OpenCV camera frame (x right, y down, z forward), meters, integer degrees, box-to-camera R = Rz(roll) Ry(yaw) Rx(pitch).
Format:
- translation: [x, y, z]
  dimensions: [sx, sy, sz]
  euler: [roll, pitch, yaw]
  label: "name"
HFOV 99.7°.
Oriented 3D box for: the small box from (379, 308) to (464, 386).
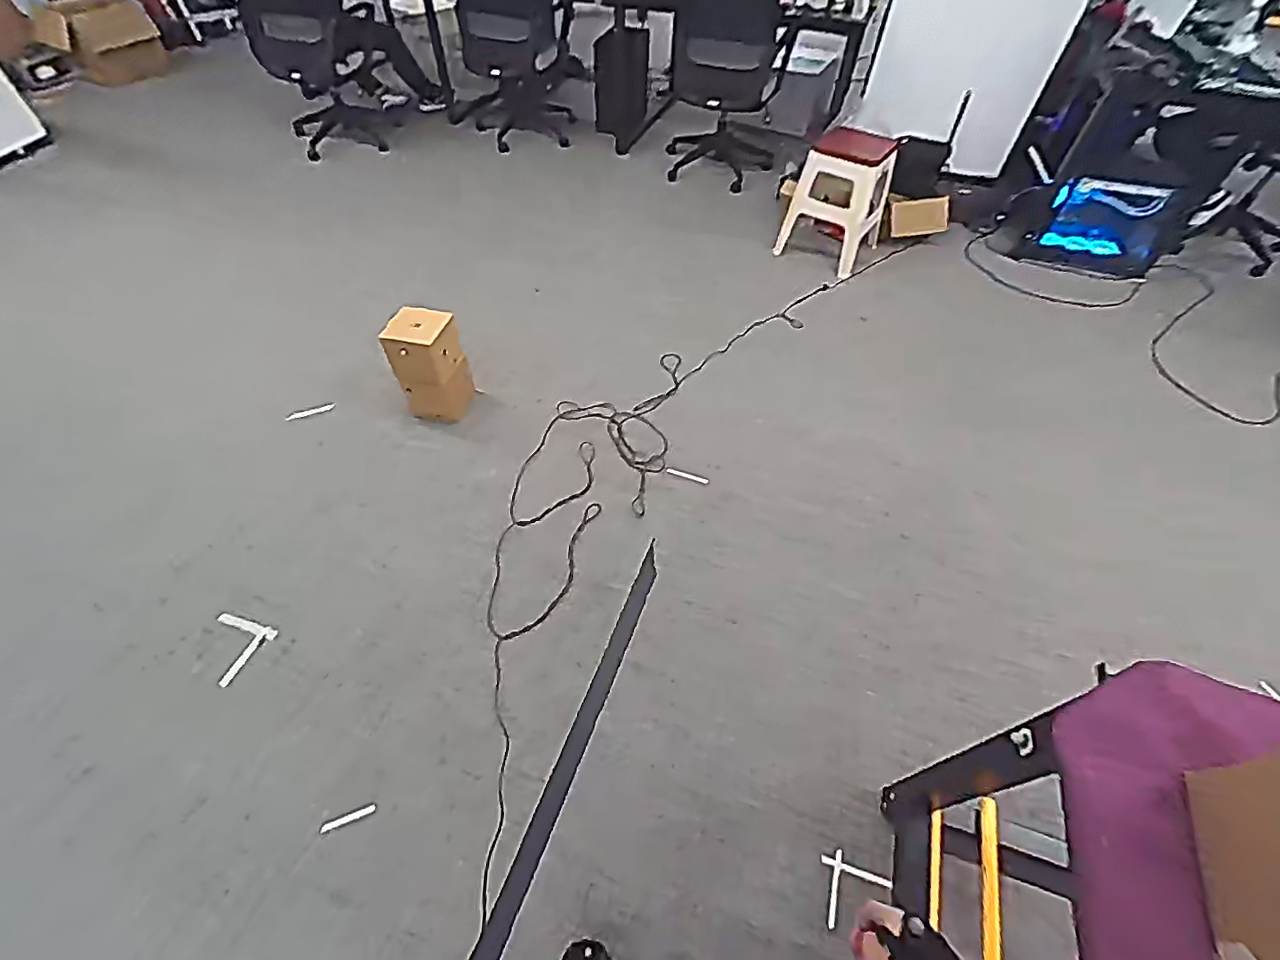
- translation: [-0.687, -0.421, 1.730]
  dimensions: [0.179, 0.176, 0.168]
  euler: [10, 52, 7]
  label: "small box"
